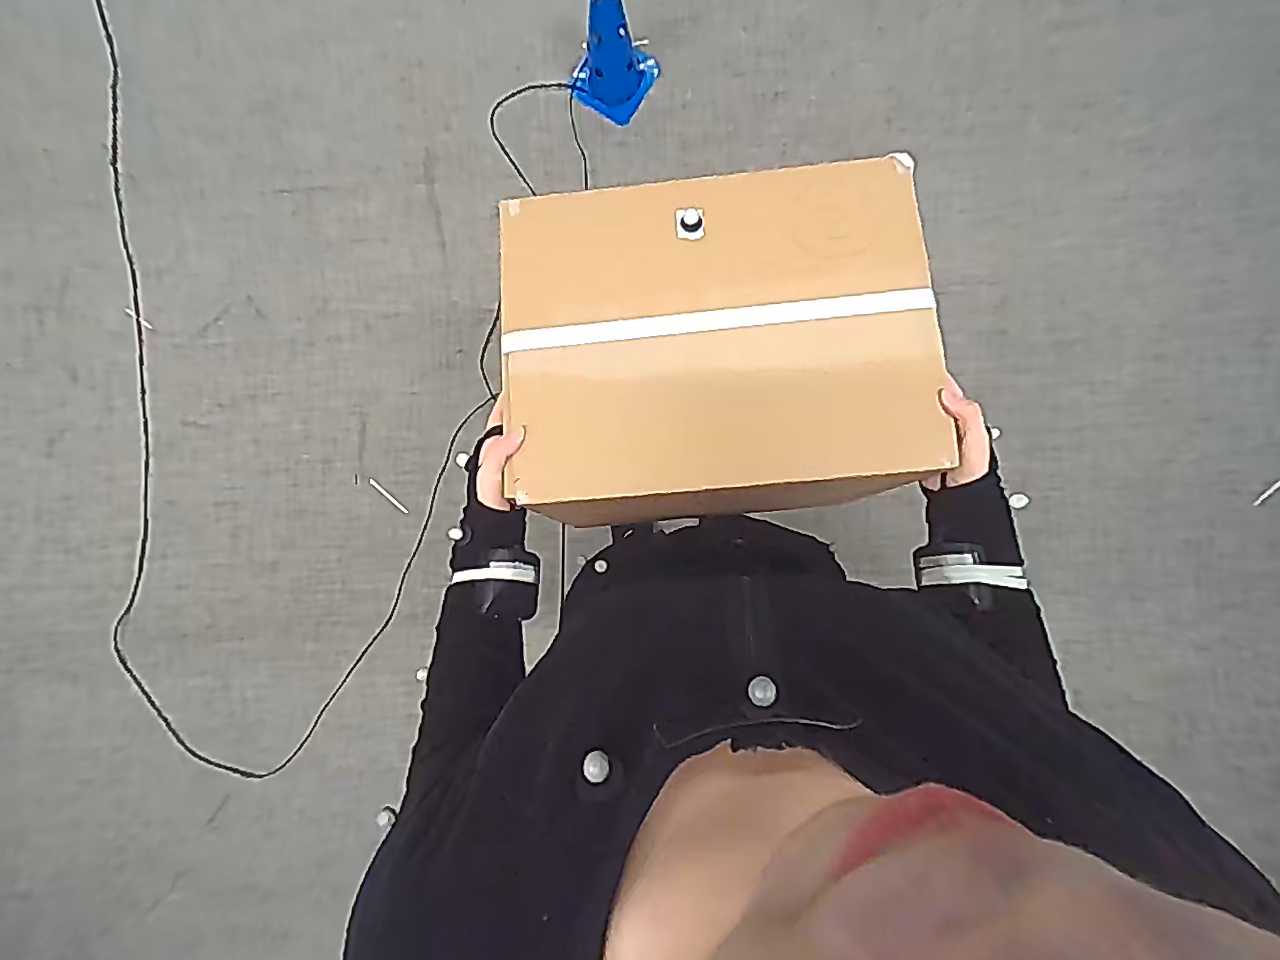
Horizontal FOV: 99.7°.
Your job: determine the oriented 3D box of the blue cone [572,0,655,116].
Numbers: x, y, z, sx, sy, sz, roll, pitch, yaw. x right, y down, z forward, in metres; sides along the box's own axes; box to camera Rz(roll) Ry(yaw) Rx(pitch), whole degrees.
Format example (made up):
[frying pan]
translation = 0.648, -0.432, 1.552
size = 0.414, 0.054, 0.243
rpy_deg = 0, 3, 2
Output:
[blue cone]
translation = -0.075, -1.099, 1.292
size = 0.192, 0.380, 0.193
rpy_deg = 30, 91, 0
